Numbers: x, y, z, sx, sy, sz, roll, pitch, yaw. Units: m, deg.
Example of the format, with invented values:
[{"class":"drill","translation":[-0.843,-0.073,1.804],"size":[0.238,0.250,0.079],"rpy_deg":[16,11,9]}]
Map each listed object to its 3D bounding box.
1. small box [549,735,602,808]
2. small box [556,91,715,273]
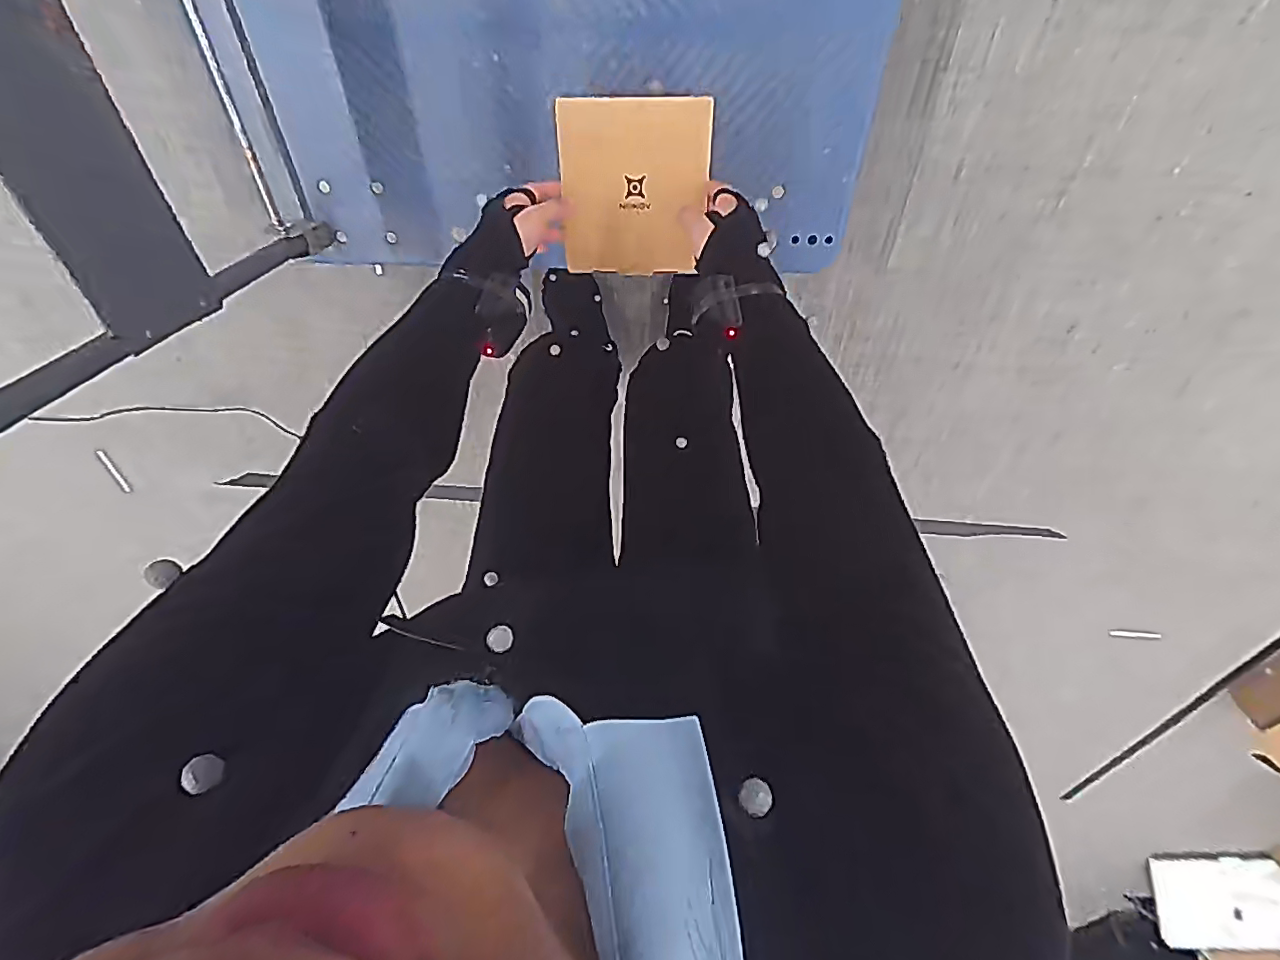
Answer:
[{"class":"small box","translation":[-0.224,1.022,1.898],"size":[0.168,0.176,0.179],"rpy_deg":[6,129,-2]},{"class":"small box","translation":[-0.004,-0.363,0.660],"size":[0.168,0.176,0.179],"rpy_deg":[0,125,2]}]
